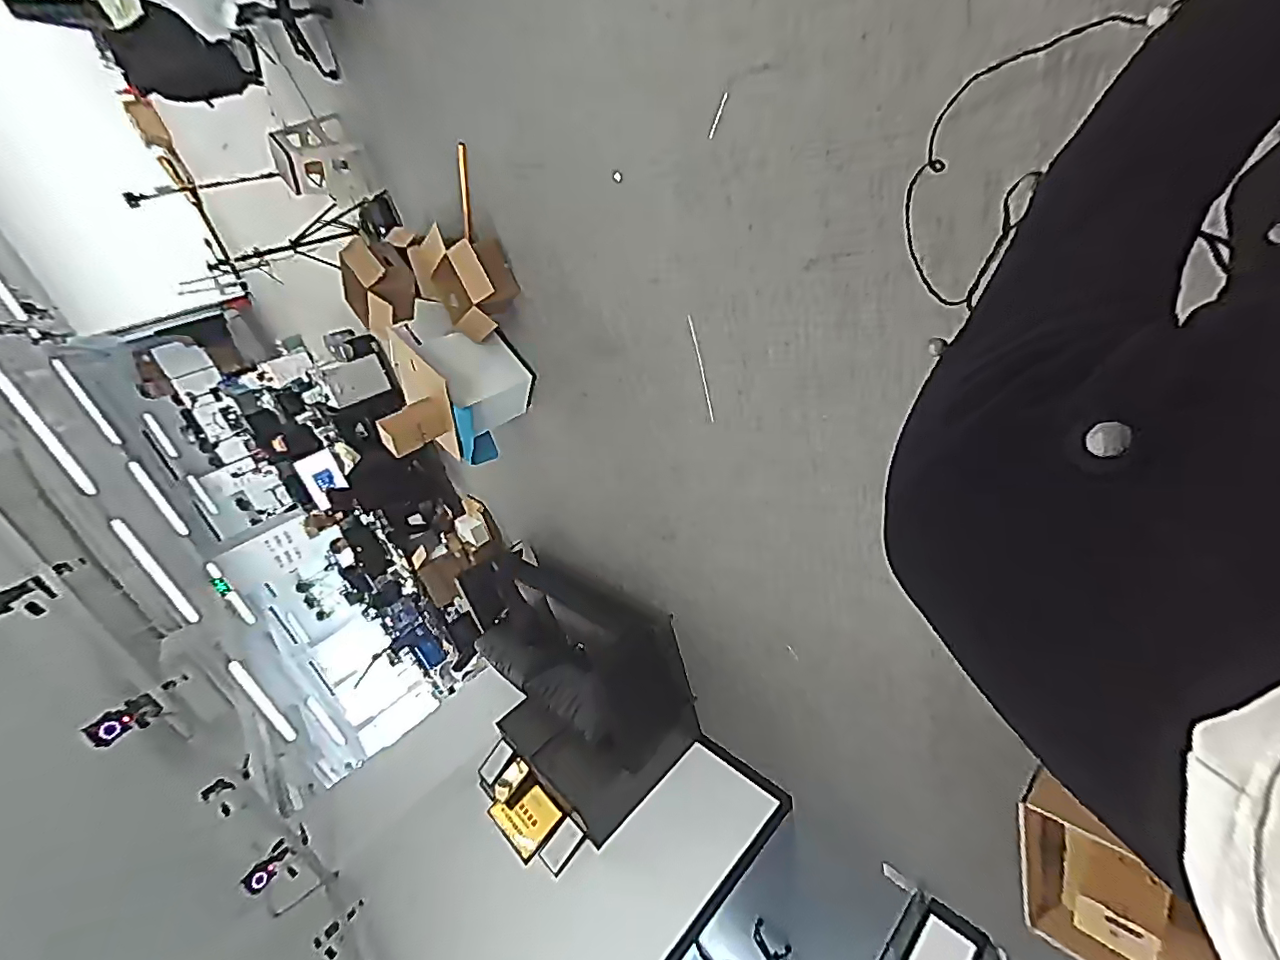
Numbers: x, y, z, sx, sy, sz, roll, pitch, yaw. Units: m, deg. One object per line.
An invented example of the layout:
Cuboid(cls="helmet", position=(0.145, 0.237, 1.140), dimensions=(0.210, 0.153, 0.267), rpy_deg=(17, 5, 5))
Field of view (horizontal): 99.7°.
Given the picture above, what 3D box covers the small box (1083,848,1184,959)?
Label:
Cuboid(cls="small box", position=(1.281, 1.116, 1.406), dimensions=(0.168, 0.176, 0.179), rpy_deg=(12, 129, 49))
